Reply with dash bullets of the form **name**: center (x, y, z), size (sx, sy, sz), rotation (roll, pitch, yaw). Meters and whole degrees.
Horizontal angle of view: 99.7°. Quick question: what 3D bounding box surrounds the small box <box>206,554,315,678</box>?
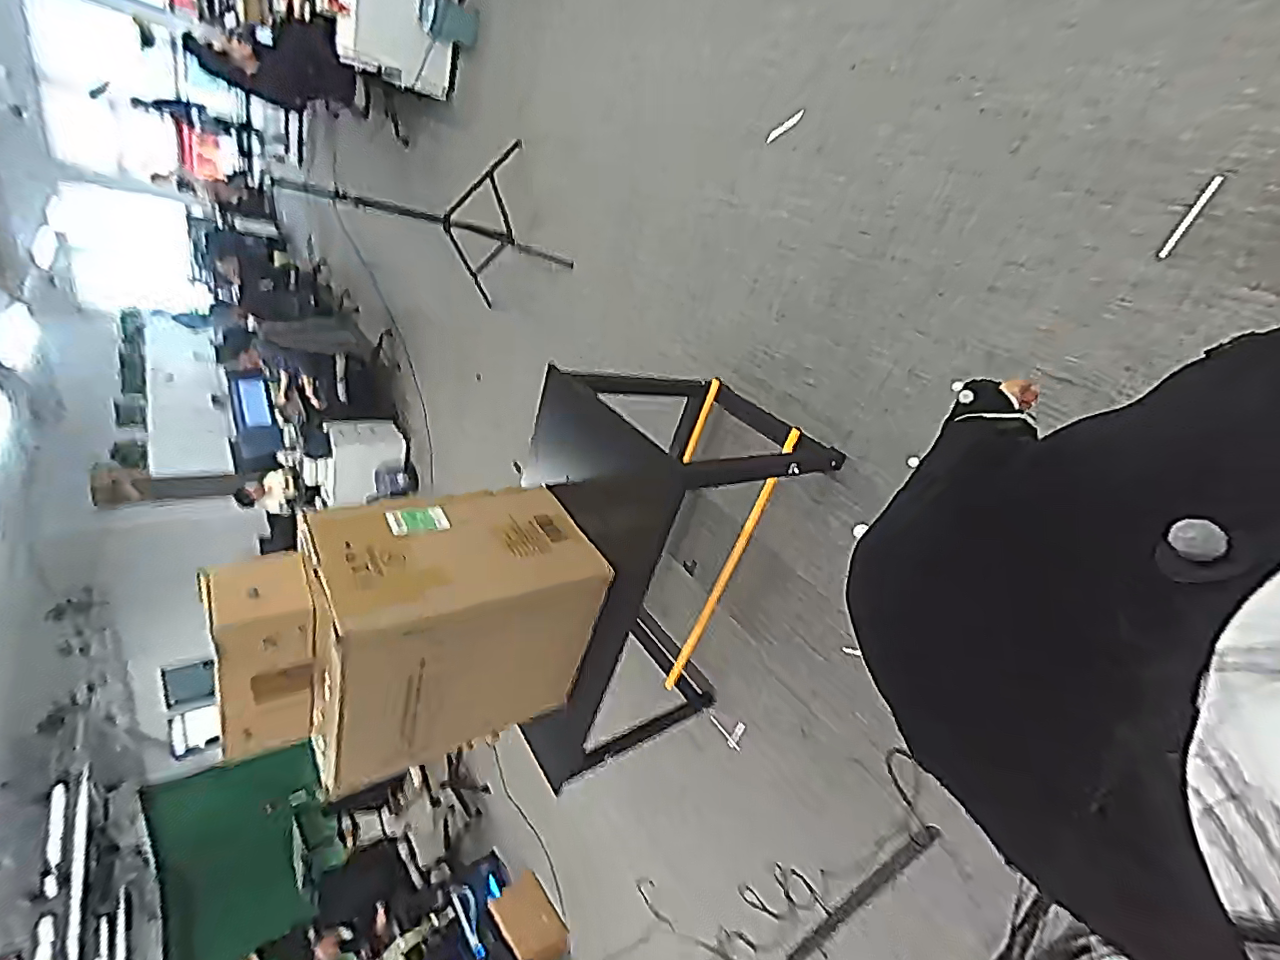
- **small box**: center (-0.793, 0.276, 1.137), size (0.179, 0.176, 0.168), rotation (46, 128, 38)

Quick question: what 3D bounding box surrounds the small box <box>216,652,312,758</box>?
- **small box**: center (-0.869, 0.495, 1.251), size (0.168, 0.176, 0.179), rotation (44, 124, 39)
